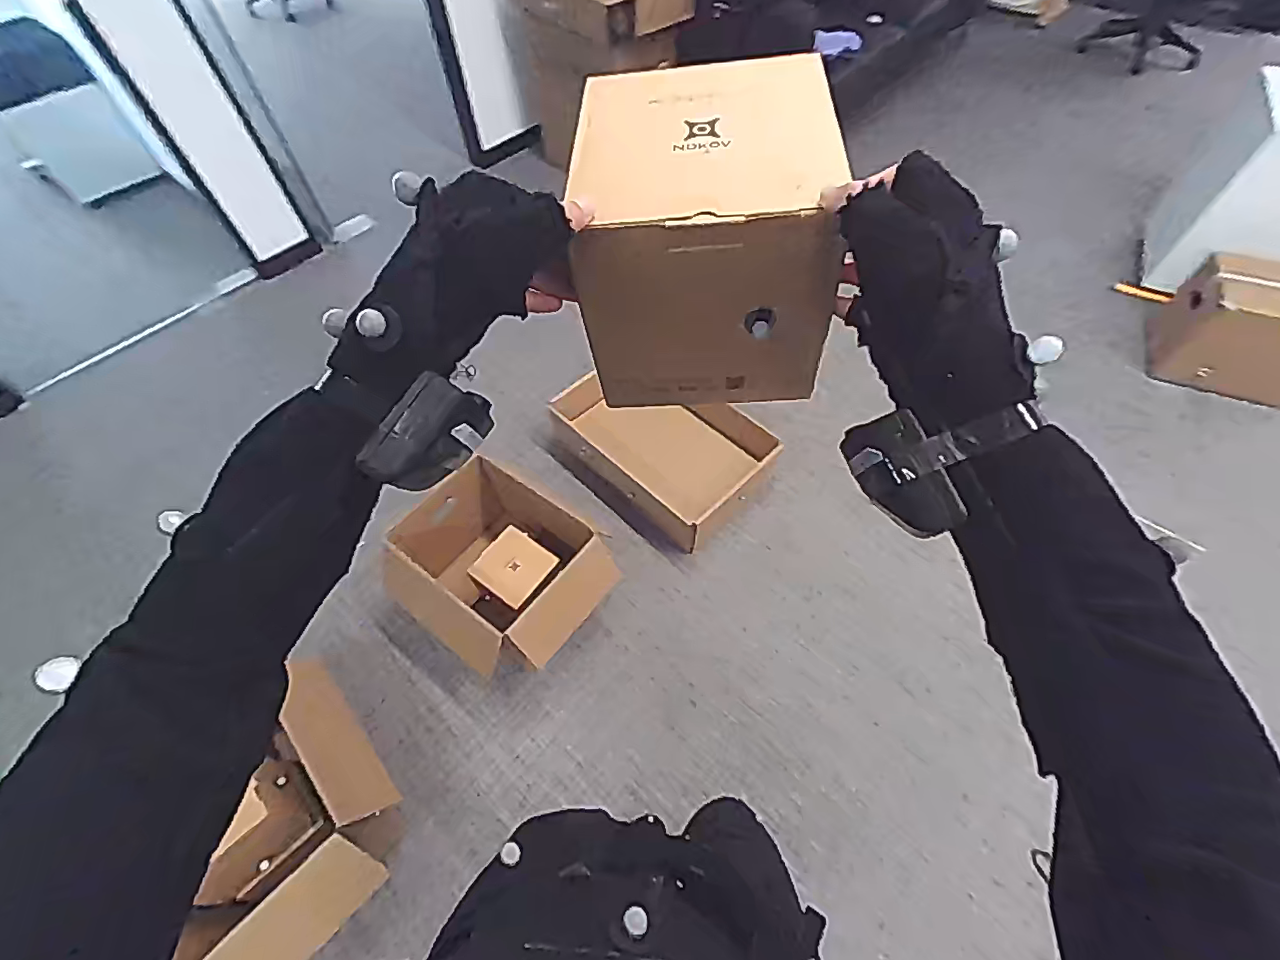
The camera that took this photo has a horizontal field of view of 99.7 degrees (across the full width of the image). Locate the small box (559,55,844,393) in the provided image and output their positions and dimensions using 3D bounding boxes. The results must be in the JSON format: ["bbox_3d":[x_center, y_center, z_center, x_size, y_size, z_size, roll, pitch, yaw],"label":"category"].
[{"bbox_3d":[0.045,-0.179,0.414,0.168,0.176,0.179,-2,60,6],"label":"small box"}]
